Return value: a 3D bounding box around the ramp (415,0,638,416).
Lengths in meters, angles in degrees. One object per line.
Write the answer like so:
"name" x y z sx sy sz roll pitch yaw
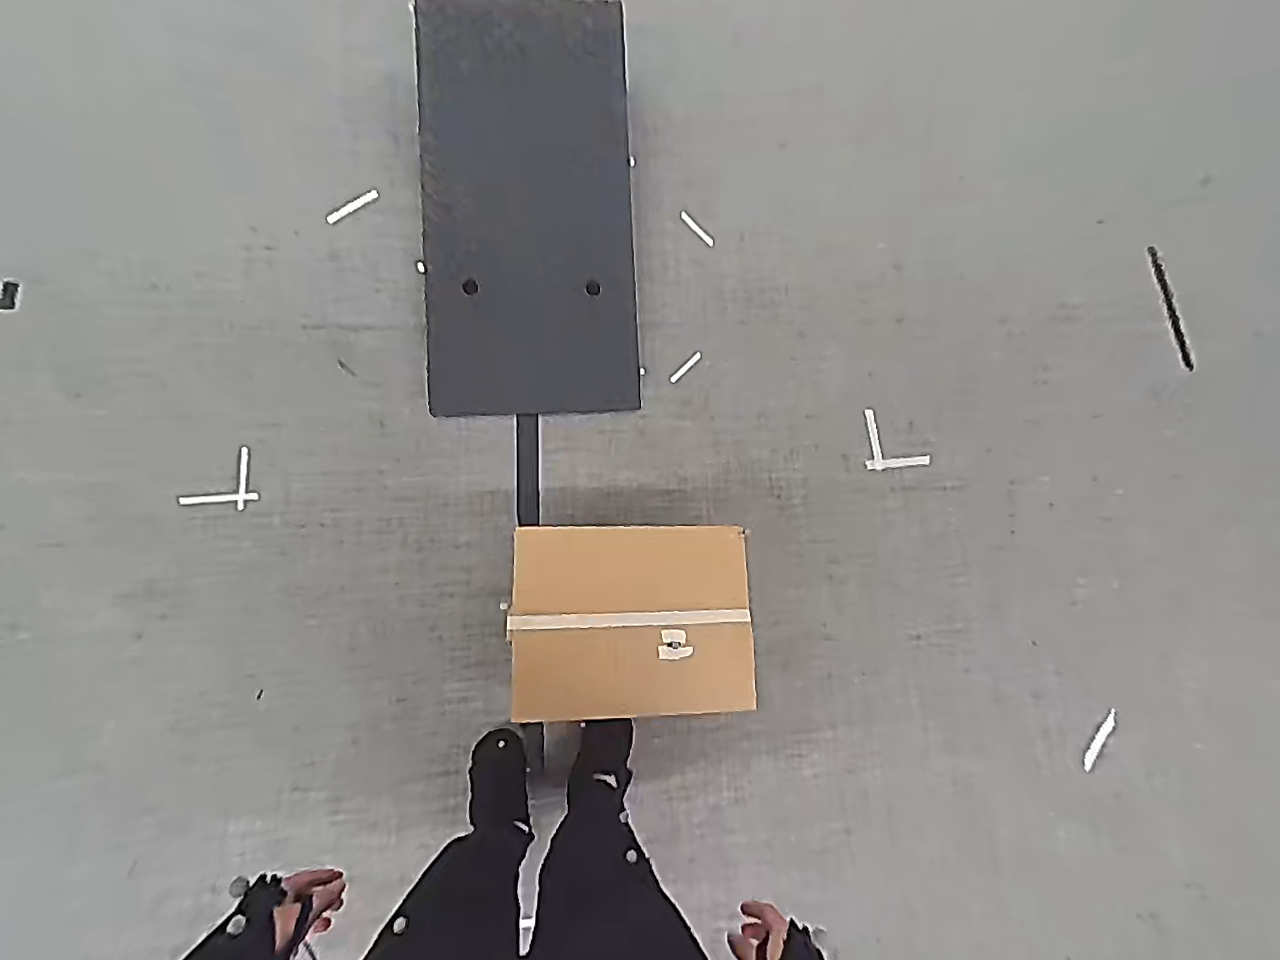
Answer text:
"ramp" -0.261 -0.654 1.281 0.509 0.206 0.991 -4 79 -9

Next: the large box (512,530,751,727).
"large box" -0.035 0.273 1.056 0.408 0.320 0.320 1 78 -8
